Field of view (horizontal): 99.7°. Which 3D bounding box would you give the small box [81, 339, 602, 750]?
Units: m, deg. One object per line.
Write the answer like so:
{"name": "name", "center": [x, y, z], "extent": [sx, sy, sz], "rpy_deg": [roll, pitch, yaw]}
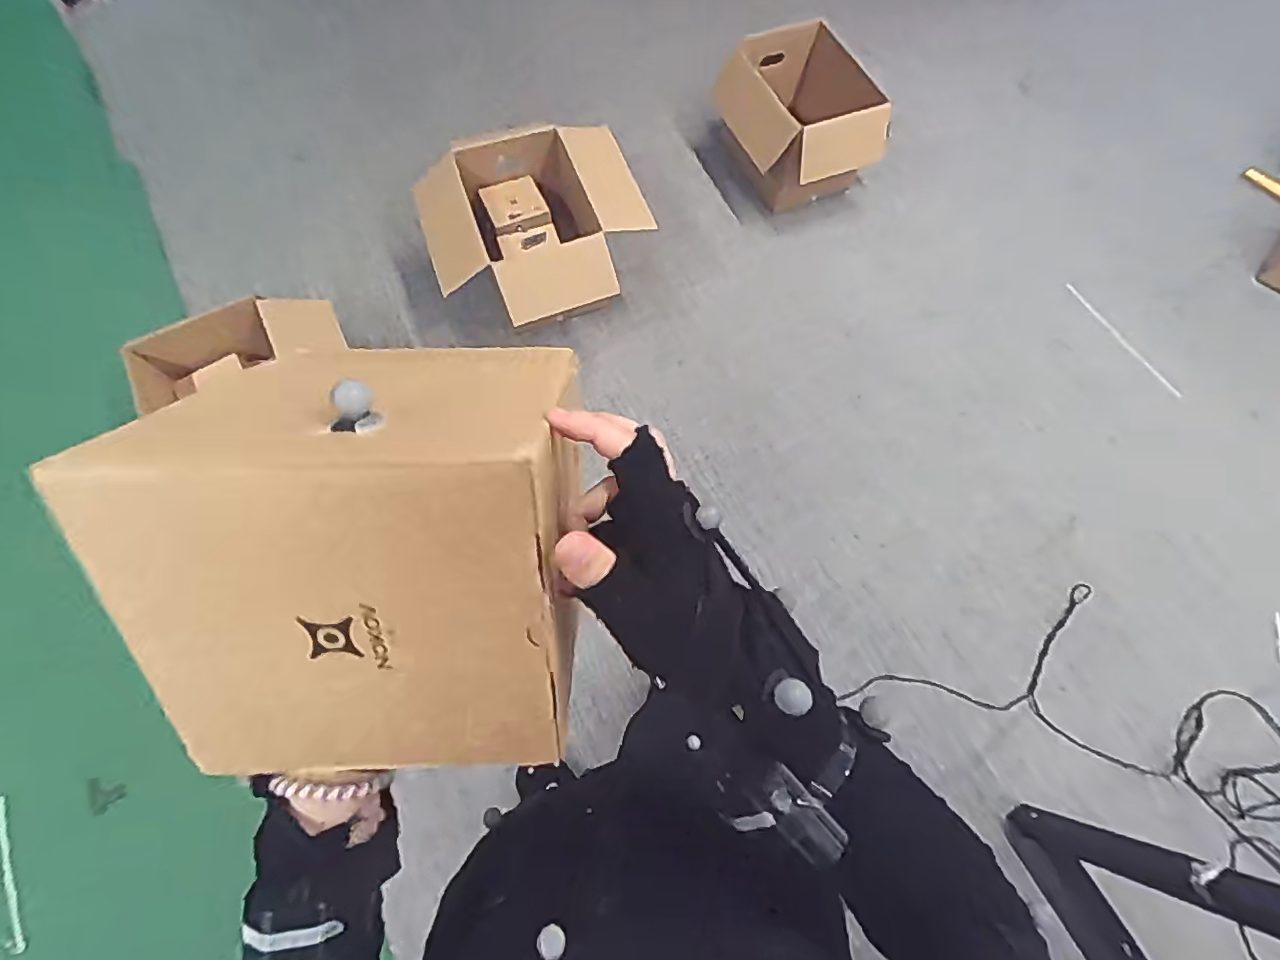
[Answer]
{"name": "small box", "center": [-0.117, 0.020, 0.301], "extent": [0.179, 0.168, 0.176], "rpy_deg": [-2, 25, 0]}
